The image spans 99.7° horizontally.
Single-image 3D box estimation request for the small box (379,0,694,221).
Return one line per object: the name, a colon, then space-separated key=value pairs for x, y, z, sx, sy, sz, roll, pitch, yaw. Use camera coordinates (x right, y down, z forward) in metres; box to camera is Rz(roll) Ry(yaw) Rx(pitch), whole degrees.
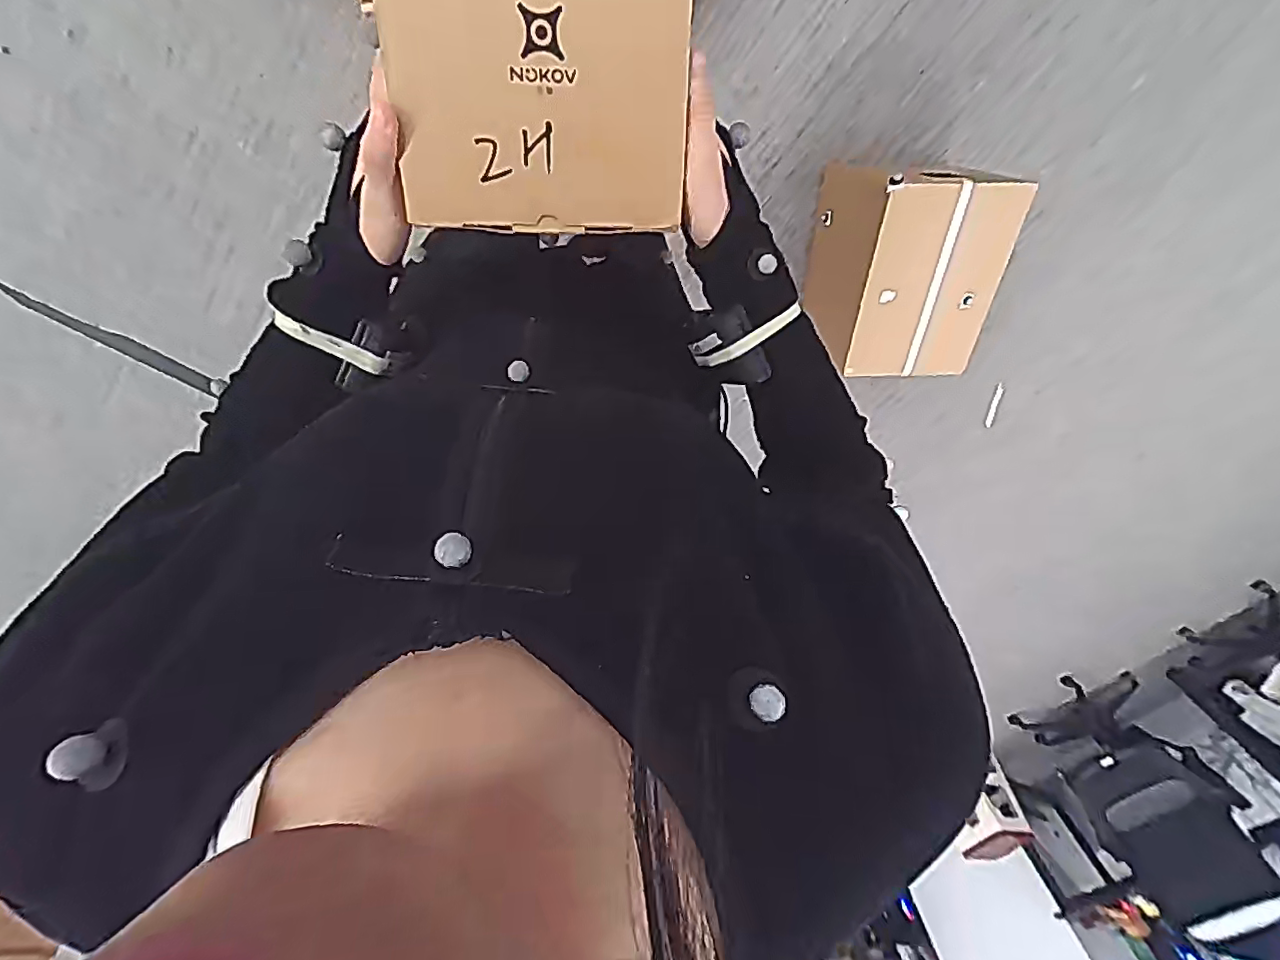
small box: x=-0.064 y=-0.273 z=0.359 sx=0.168 sy=0.176 sz=0.179 roll=-2 pitch=117 yaw=-8
